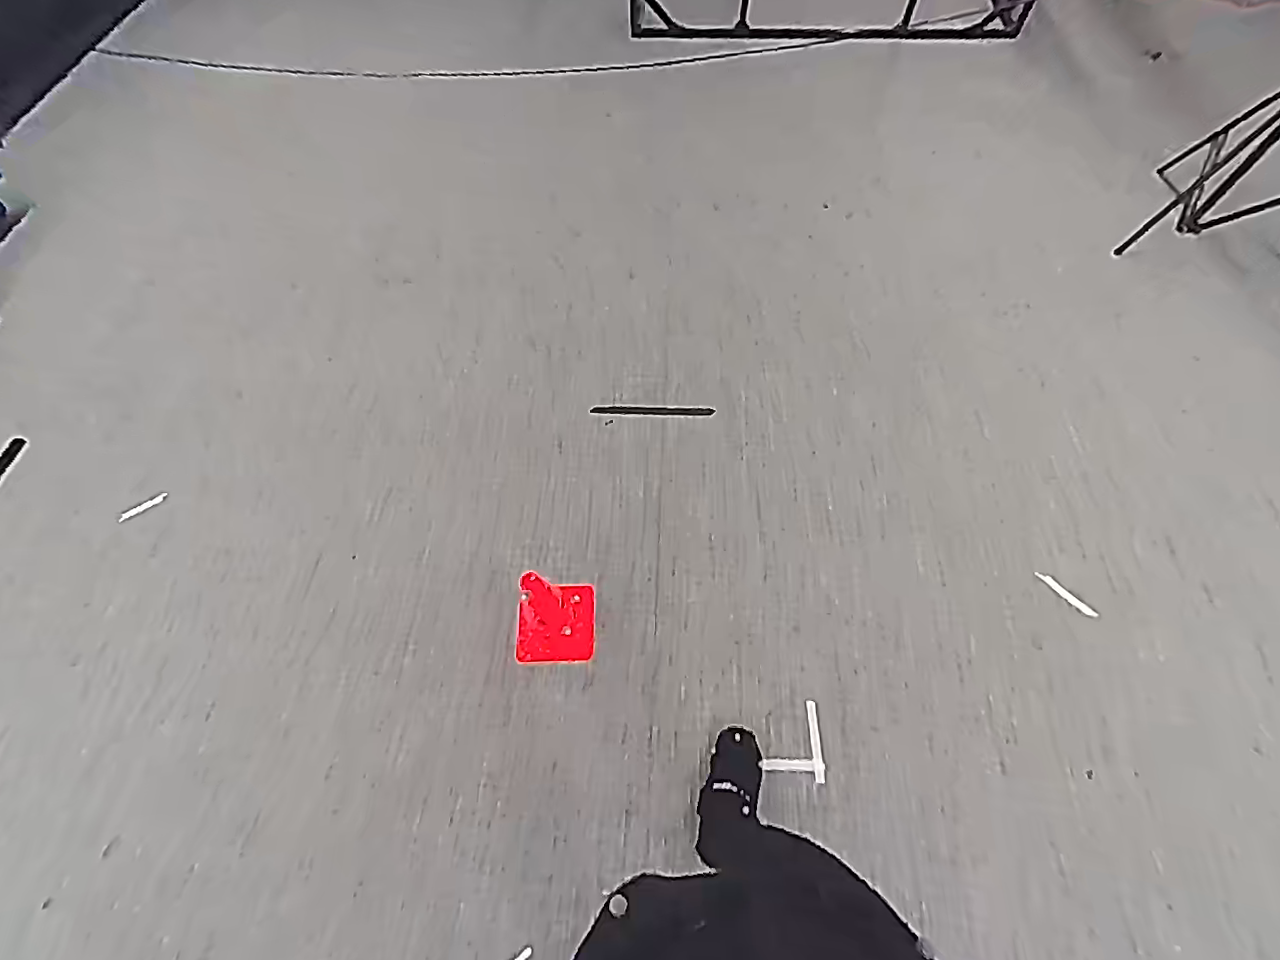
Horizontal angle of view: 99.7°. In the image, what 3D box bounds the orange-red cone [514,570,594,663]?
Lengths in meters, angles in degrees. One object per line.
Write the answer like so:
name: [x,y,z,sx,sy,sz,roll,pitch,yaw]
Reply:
orange-red cone: [-0.229,0.286,1.245,0.199,0.360,0.198,-2,61,2]
